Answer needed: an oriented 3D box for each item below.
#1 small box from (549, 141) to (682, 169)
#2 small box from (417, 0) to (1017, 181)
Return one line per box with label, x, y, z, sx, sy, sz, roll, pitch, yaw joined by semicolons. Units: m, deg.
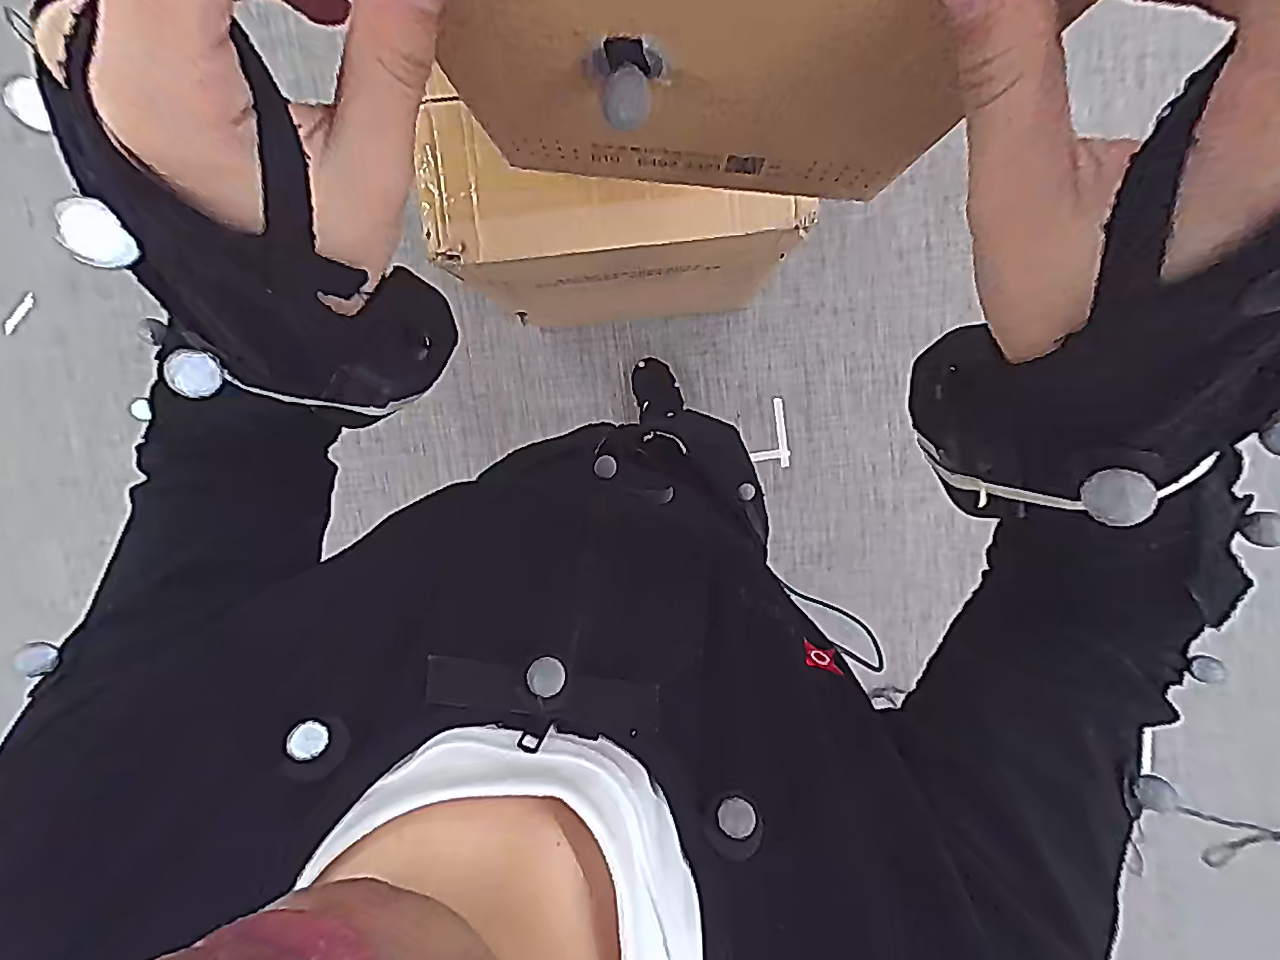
small box;-0.029;-0.475;0.611;0.179;0.176;0.168;-5;98;2
small box;0.026;-0.205;0.145;0.168;0.176;0.179;6;99;2
